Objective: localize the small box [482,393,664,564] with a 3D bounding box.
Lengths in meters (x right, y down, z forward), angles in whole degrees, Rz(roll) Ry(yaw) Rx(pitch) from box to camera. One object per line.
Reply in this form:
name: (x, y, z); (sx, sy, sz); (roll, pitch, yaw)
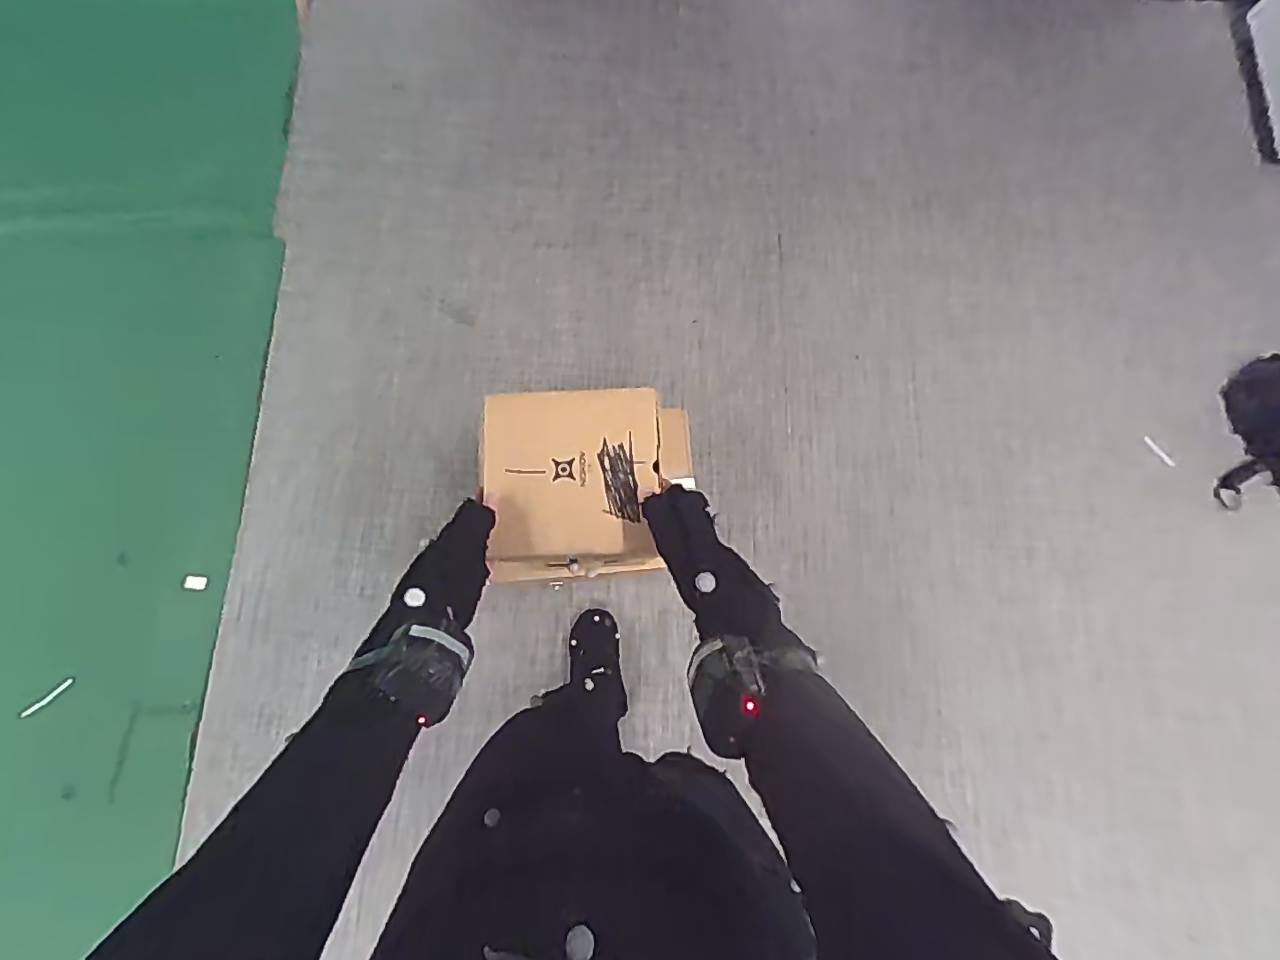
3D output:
small box: (-0.068, 0.008, 0.608); (0.179, 0.176, 0.168); (-2, 79, -1)
